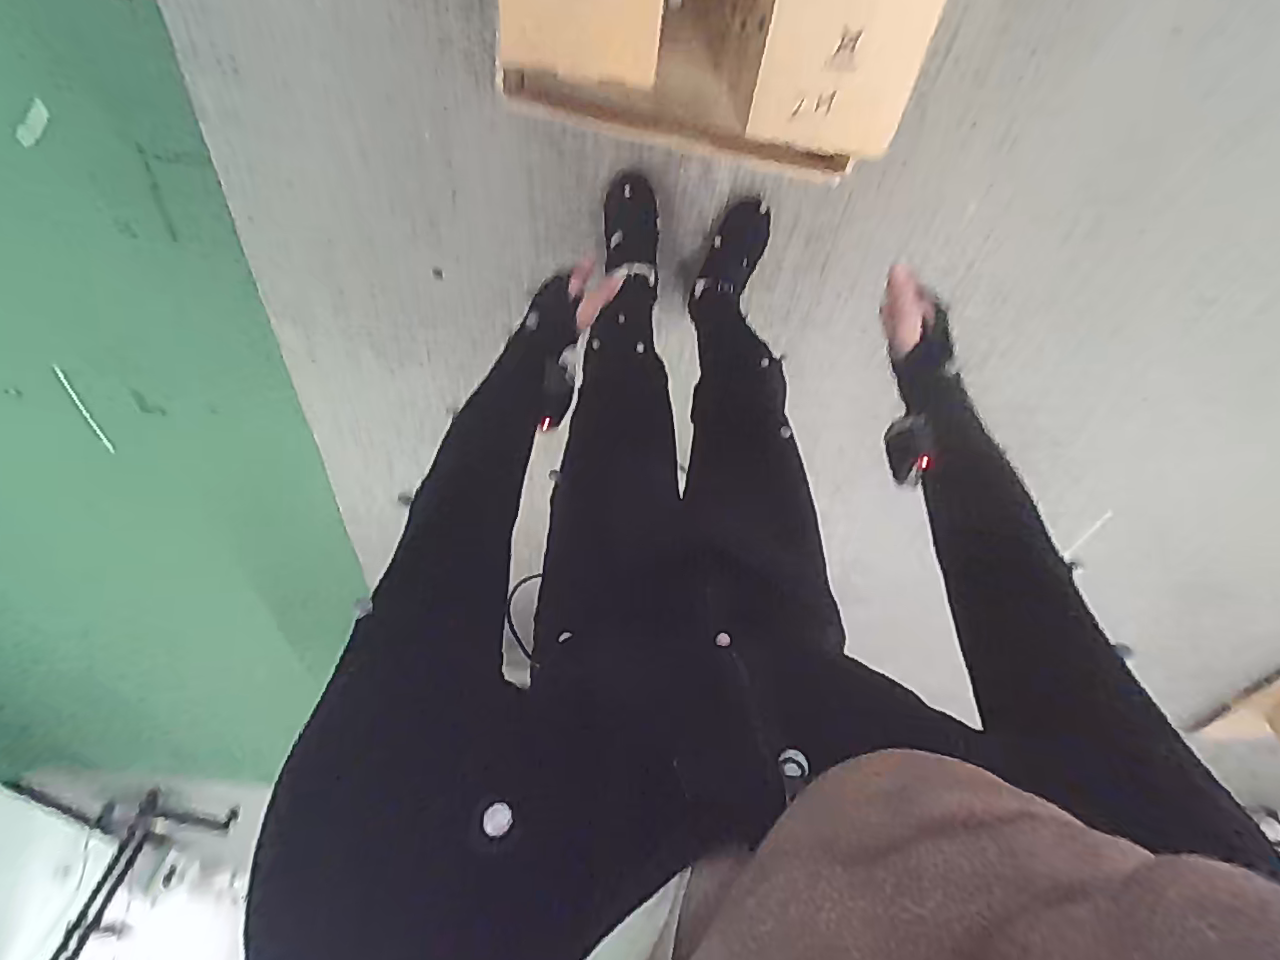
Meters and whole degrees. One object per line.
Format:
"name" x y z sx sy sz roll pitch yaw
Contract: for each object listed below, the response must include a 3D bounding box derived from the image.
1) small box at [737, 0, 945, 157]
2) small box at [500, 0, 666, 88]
"small box" 0.212 -0.493 0.613 0.168 0.176 0.179 8 131 -2
"small box" -0.052 -0.549 0.582 0.168 0.176 0.179 7 131 -3
